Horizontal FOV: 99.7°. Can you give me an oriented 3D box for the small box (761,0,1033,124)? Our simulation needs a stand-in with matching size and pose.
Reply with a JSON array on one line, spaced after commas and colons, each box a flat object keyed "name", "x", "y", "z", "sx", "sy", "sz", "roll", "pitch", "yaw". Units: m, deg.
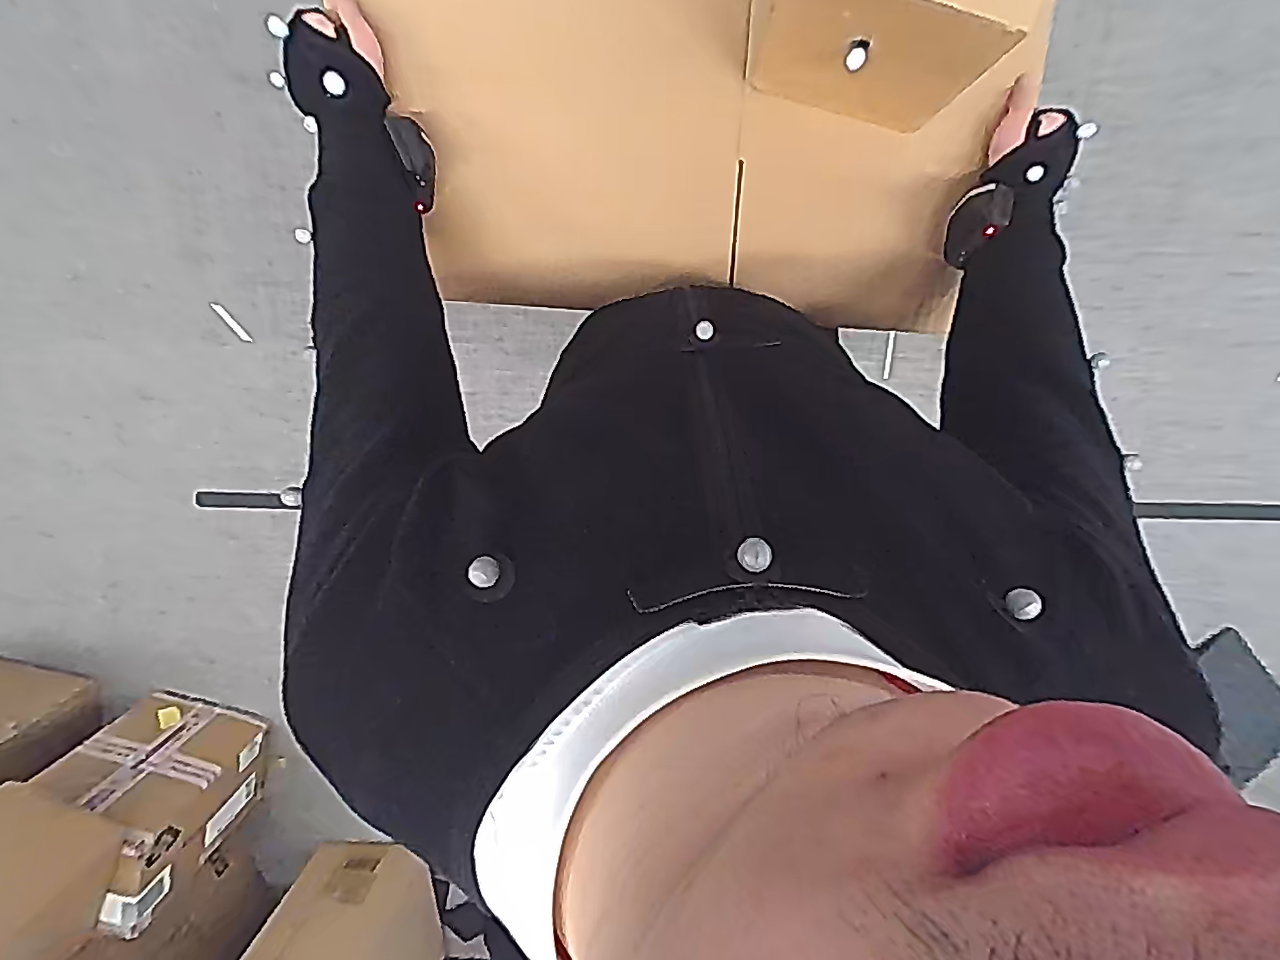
[{"name": "small box", "x": 0.218, "y": -0.441, "z": 0.460, "sx": 0.179, "sy": 0.176, "sz": 0.168, "roll": 14, "pitch": 101, "yaw": -3}]
